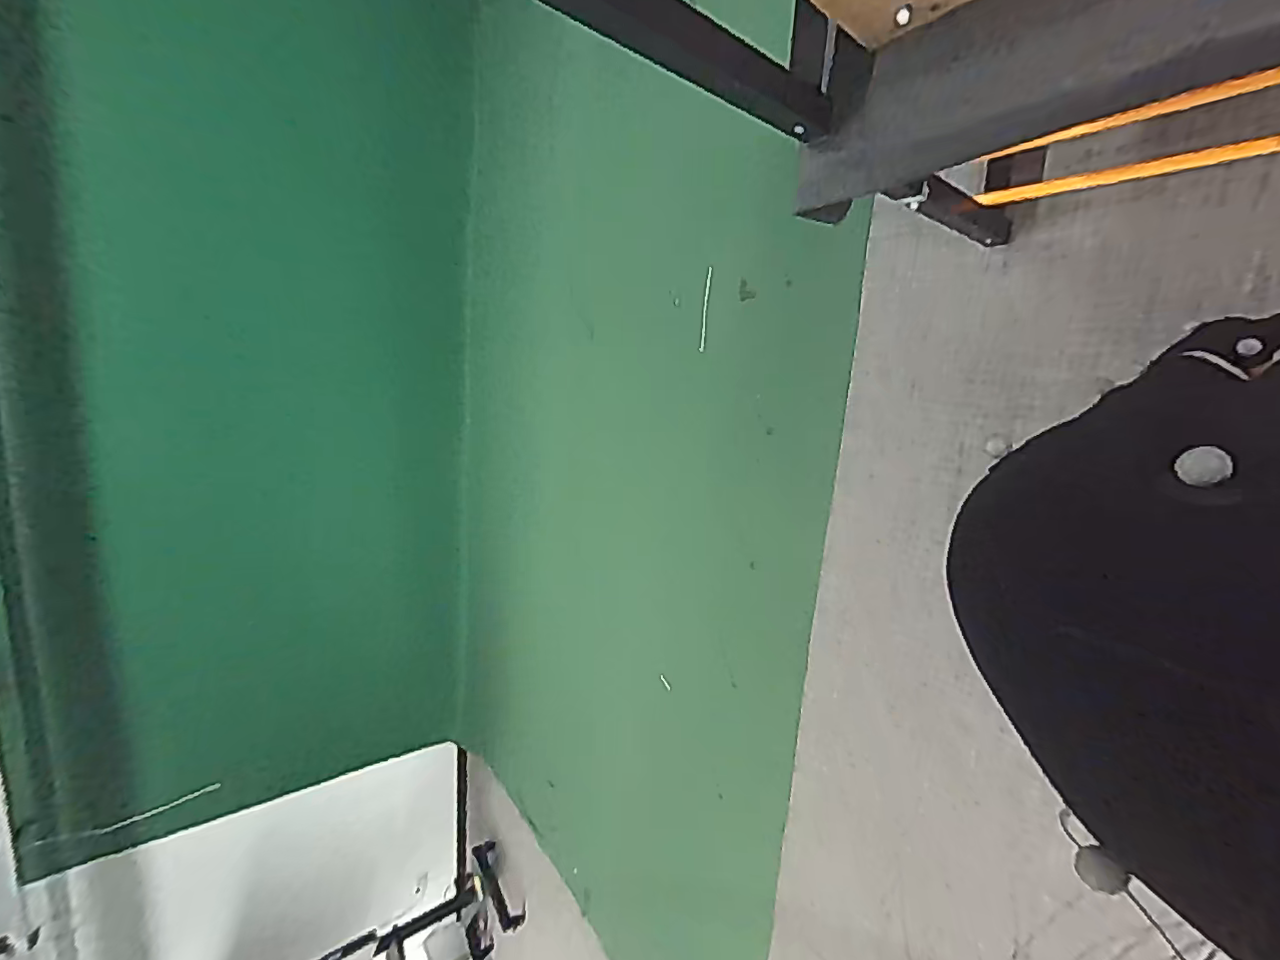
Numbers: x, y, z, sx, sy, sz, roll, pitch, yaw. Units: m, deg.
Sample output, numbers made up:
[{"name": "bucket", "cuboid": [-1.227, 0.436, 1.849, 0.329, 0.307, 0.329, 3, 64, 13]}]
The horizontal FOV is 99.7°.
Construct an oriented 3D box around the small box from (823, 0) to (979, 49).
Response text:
[{"name": "small box", "cuboid": [0.337, -0.706, 0.682, 0.168, 0.176, 0.179, 12, 103, 51]}]
